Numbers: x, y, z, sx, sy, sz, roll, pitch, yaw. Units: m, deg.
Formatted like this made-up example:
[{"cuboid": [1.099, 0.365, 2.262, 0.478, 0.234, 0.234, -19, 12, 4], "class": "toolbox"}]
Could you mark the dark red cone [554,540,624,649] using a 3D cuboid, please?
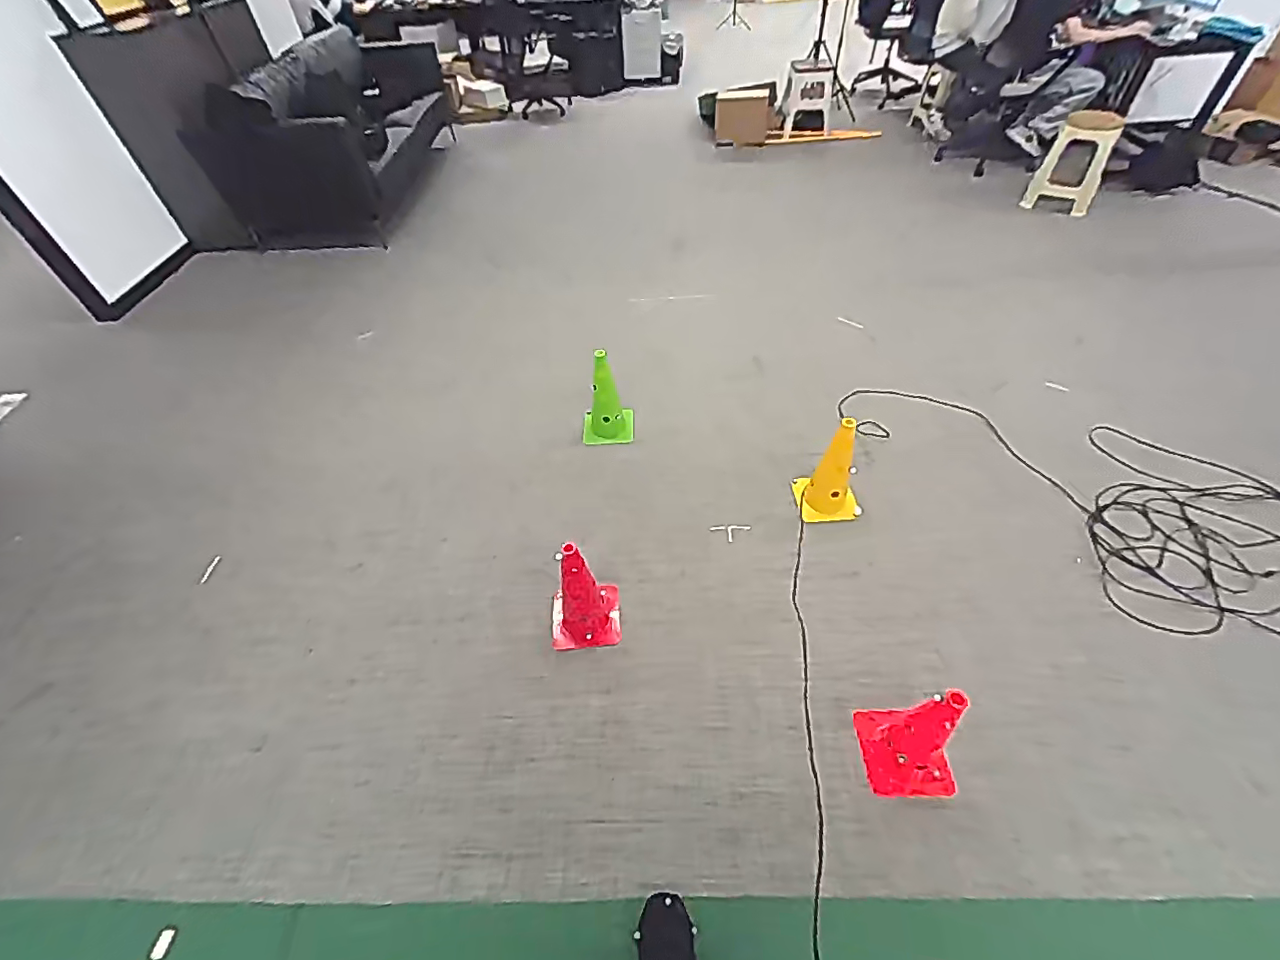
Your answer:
[{"cuboid": [-0.161, 0.290, 1.476, 0.202, 0.394, 0.201, -6, 48, -1], "class": "dark red cone"}]

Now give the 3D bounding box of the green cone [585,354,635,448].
[{"cuboid": [-0.128, -0.317, 2.066, 0.202, 0.368, 0.200, -3, 48, 0], "class": "green cone"}]

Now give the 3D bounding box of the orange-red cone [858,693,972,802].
[{"cuboid": [0.644, 0.557, 1.198, 0.198, 0.360, 0.199, -1, 46, 2], "class": "orange-red cone"}]
